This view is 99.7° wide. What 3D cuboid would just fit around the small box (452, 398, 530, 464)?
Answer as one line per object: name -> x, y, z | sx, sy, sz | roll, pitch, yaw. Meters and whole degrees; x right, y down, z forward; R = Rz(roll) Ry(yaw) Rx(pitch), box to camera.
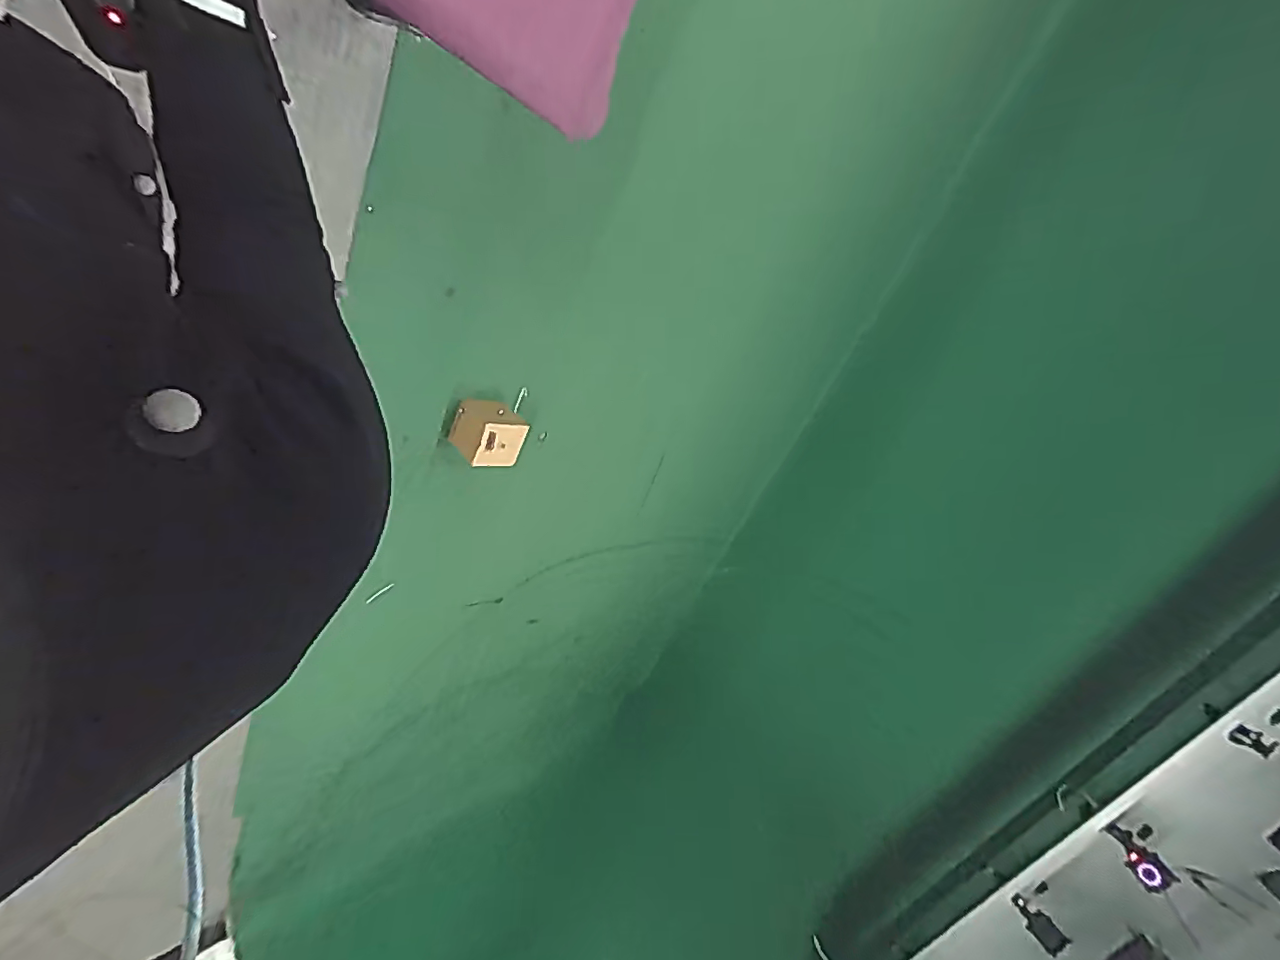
small box -> -0.514, -0.168, 1.850 | 0.179, 0.176, 0.168 | -3, 127, -51
